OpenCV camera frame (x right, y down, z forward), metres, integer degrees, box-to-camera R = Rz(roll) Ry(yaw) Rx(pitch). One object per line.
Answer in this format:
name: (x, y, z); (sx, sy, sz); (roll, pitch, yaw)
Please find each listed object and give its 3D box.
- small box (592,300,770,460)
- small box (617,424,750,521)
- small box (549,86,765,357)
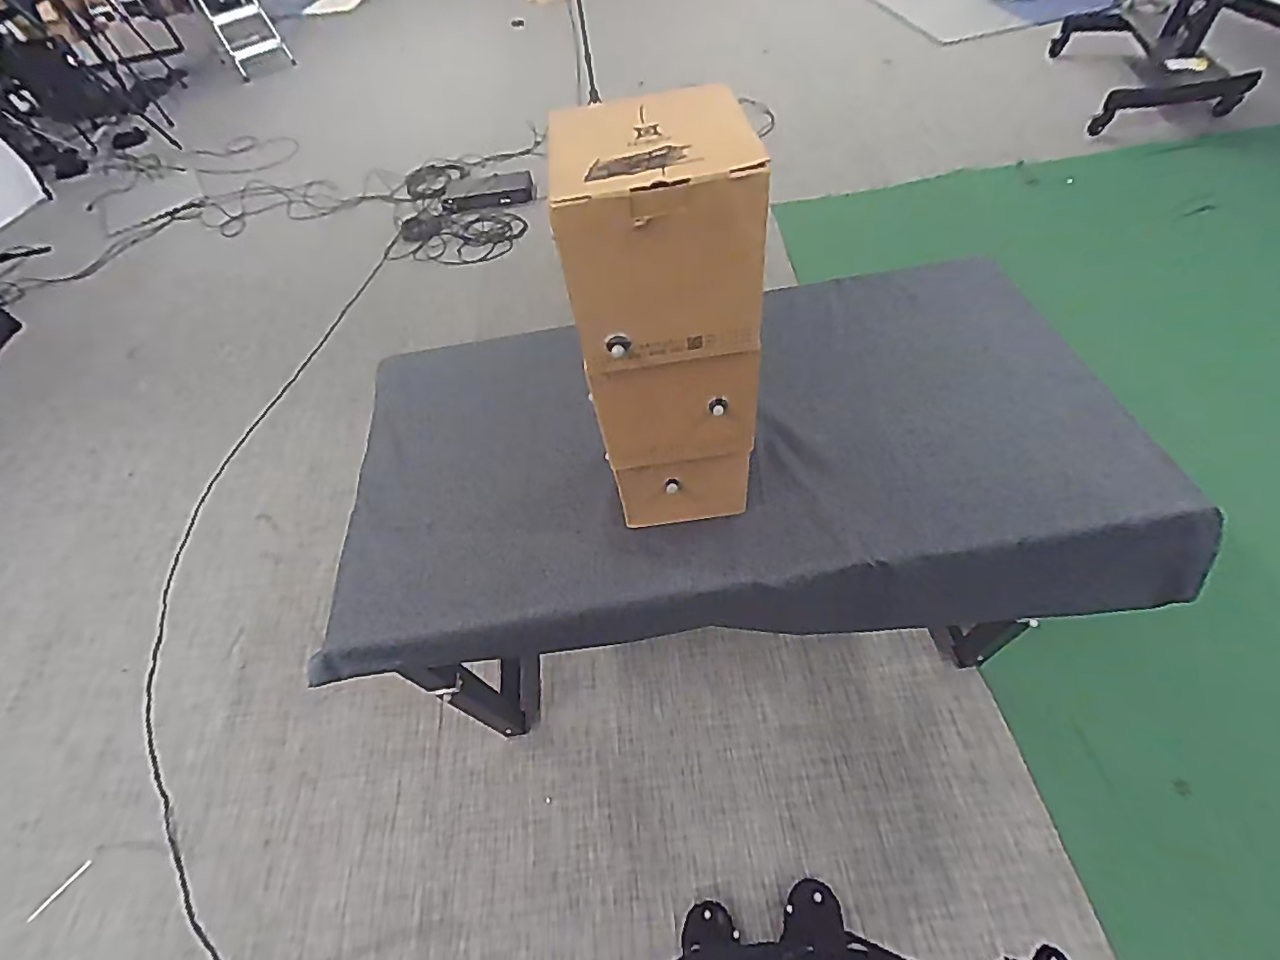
small box: (0.036, -0.145, 0.628); (0.179, 0.176, 0.168); (-11, 54, 0)
small box: (0.054, -0.058, 0.787); (0.179, 0.176, 0.168); (-10, 53, 0)
small box: (0.016, -0.230, 0.509); (0.168, 0.176, 0.179); (-8, 53, 2)
